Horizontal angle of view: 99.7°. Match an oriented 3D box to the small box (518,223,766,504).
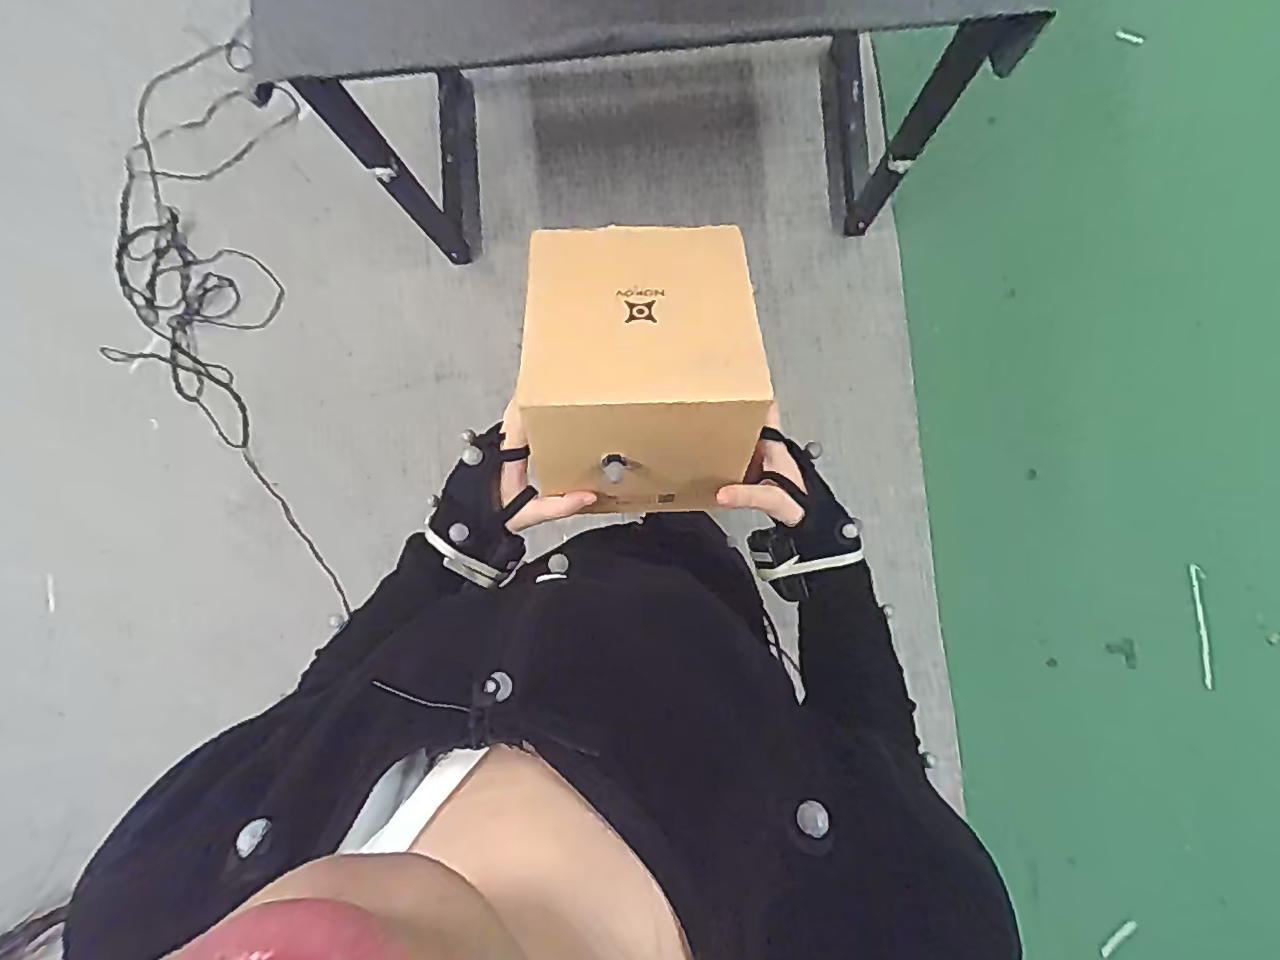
[{"bbox_3d":[0.000,-0.087,0.459,0.168,0.176,0.179,-2,60,-2],"label":"small box"}]
